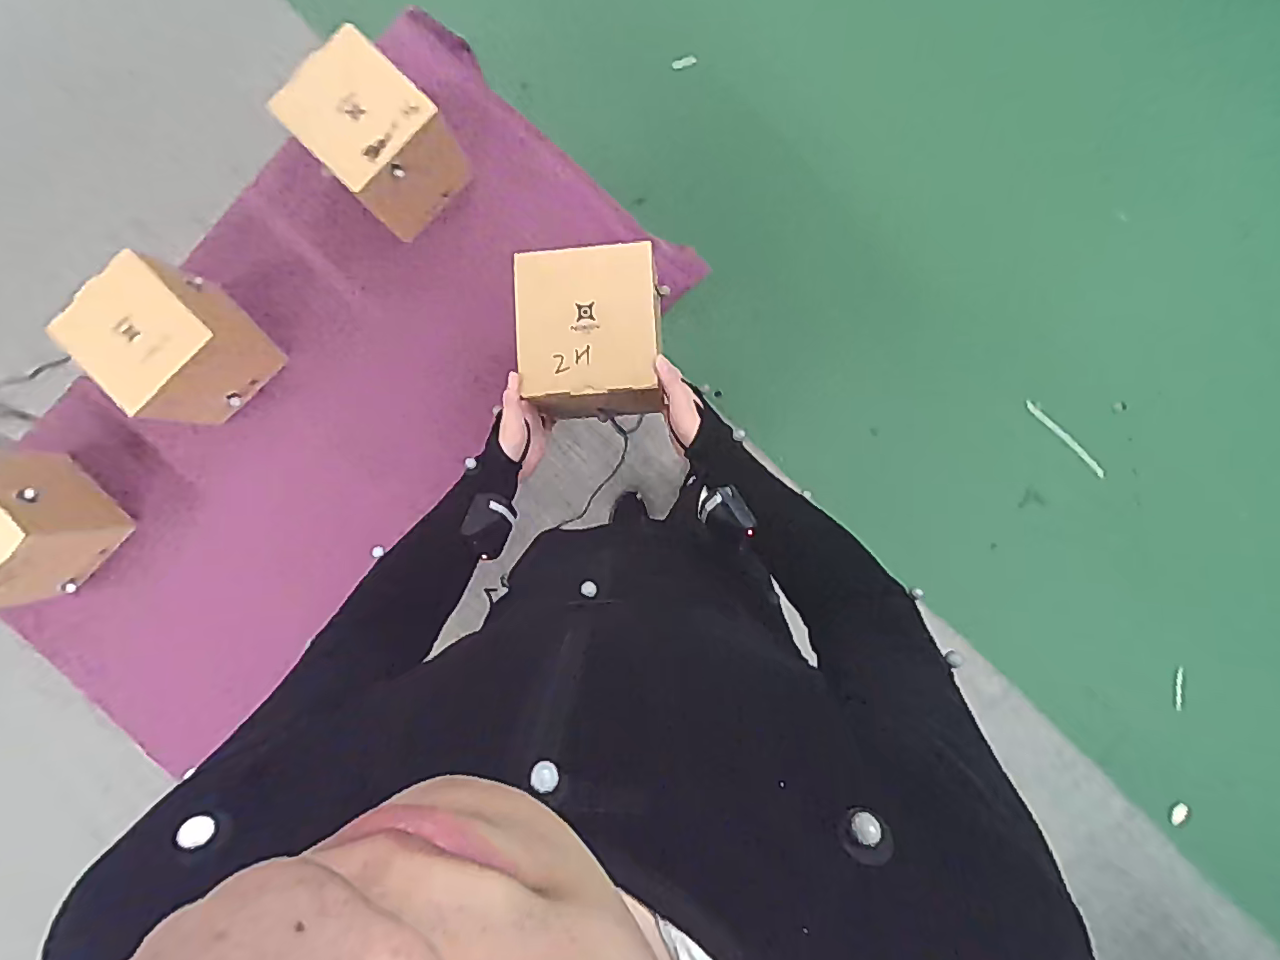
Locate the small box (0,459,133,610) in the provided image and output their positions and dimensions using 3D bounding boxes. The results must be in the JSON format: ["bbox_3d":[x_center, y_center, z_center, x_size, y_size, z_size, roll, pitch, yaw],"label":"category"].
[{"bbox_3d":[-0.956,0.079,0.826,0.179,0.176,0.168,44,90,-2],"label":"small box"}]

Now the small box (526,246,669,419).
[{"bbox_3d":[-0.048,-0.182,0.713,0.168,0.176,0.179,-2,88,5],"label":"small box"}]

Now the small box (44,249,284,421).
[{"bbox_3d":[-0.705,-0.204,0.824,0.168,0.176,0.179,-44,92,2],"label":"small box"}]

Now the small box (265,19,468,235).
[{"bbox_3d":[-0.396,-0.512,0.815,0.179,0.176,0.168,44,92,-1],"label":"small box"}]
